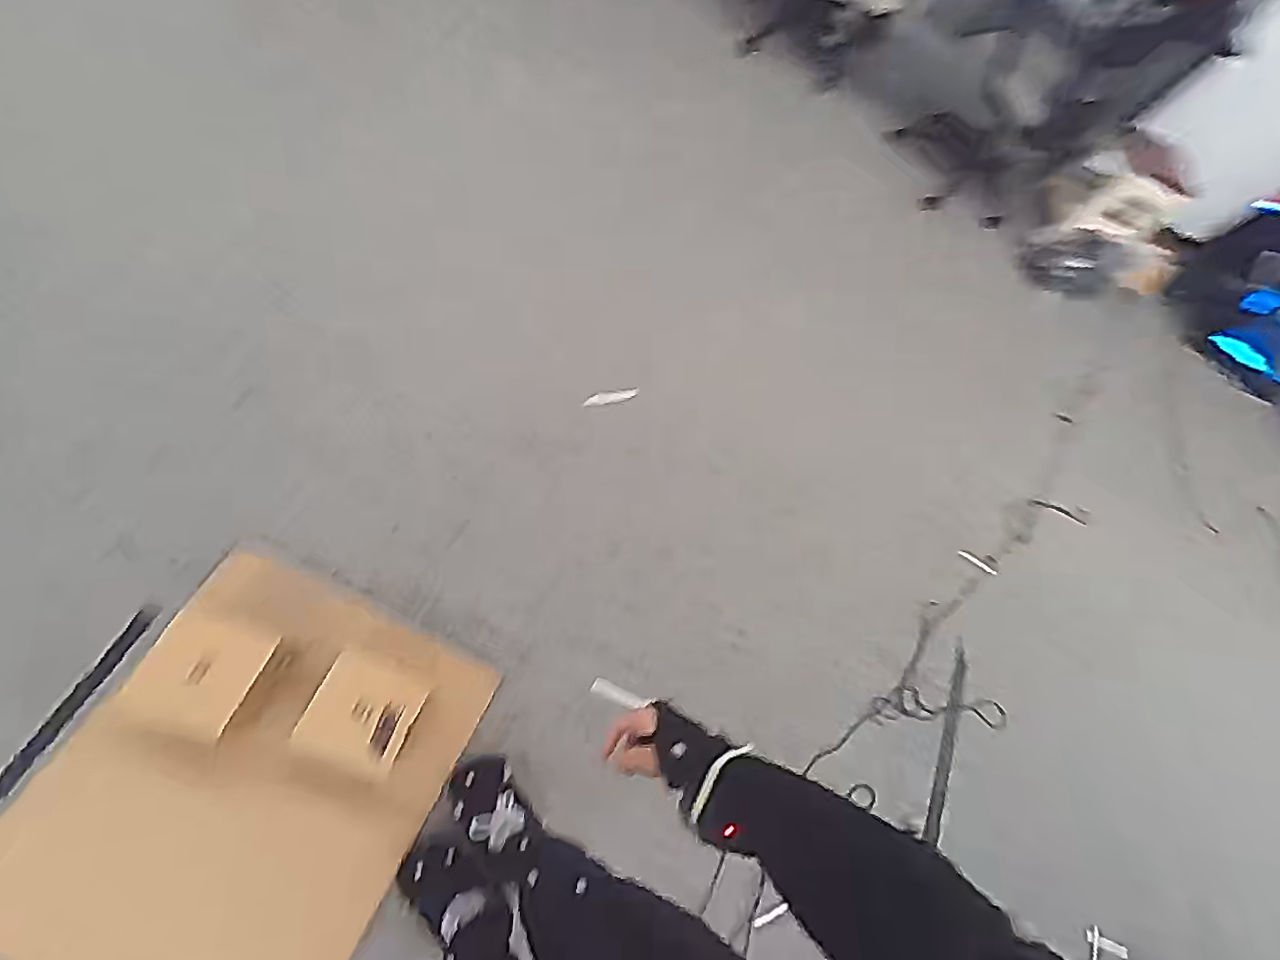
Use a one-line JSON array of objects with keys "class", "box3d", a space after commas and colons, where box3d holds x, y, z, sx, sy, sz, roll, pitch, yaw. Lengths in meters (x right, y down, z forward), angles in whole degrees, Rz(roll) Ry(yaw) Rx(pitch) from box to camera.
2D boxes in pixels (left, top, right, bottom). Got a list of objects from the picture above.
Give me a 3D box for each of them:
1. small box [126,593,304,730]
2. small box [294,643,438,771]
[{"class": "small box", "box3d": [-0.737, 0.322, 0.969, 0.168, 0.176, 0.179, 26, 66, -9]}, {"class": "small box", "box3d": [-0.501, 0.419, 1.021, 0.179, 0.176, 0.168, 28, 65, -9]}]
